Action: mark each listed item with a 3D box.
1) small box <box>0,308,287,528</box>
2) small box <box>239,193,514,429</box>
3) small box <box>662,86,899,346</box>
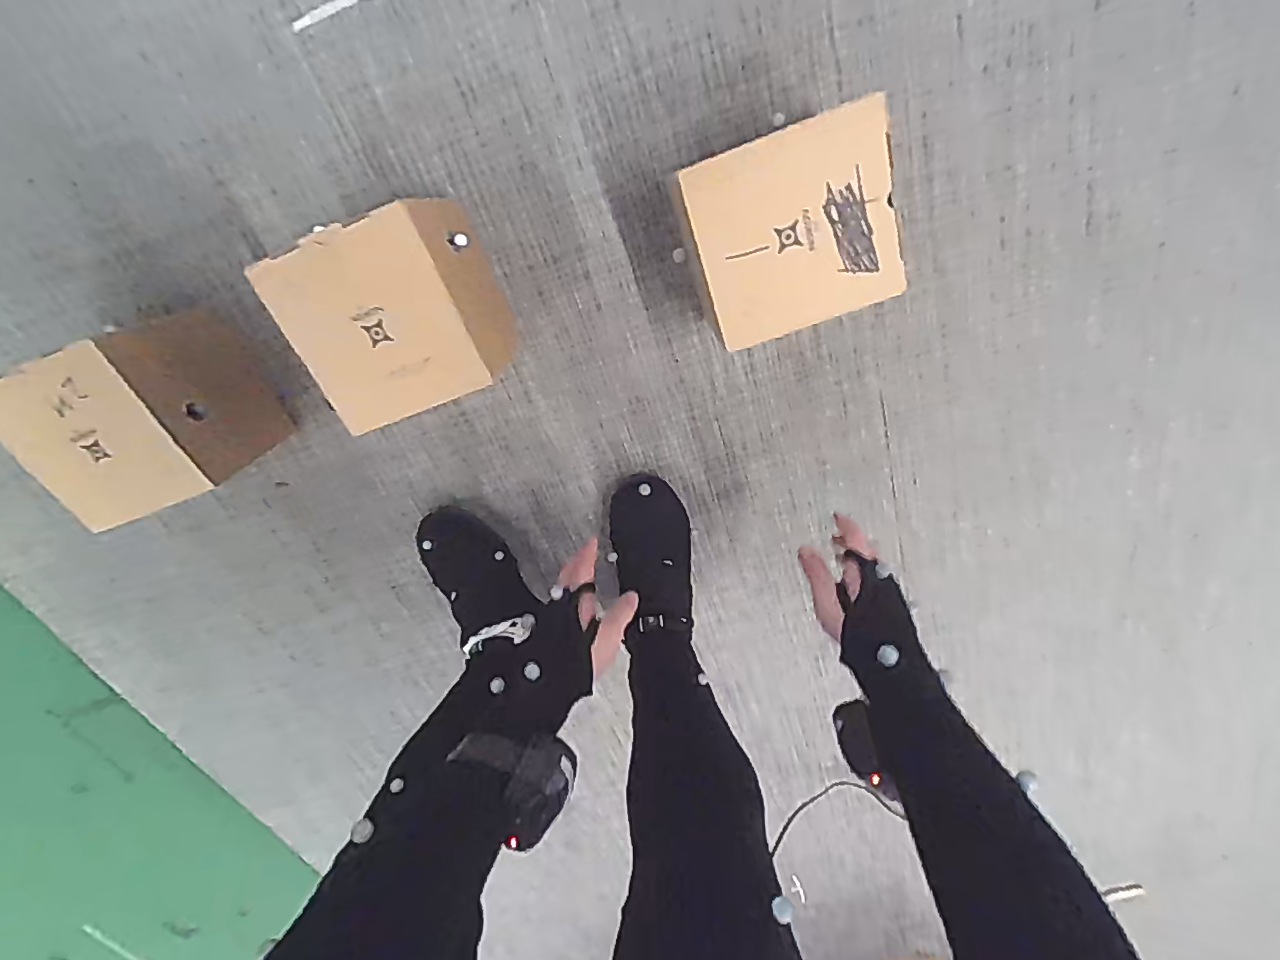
[{"bbox_3d":[-0.563,-0.078,0.625,0.168,0.176,0.179,-19,116,8],"label":"small box"},{"bbox_3d":[-0.256,-0.183,0.577,0.168,0.176,0.179,-18,117,9],"label":"small box"},{"bbox_3d":[0.129,-0.257,0.542,0.179,0.176,0.168,-18,116,9],"label":"small box"}]
